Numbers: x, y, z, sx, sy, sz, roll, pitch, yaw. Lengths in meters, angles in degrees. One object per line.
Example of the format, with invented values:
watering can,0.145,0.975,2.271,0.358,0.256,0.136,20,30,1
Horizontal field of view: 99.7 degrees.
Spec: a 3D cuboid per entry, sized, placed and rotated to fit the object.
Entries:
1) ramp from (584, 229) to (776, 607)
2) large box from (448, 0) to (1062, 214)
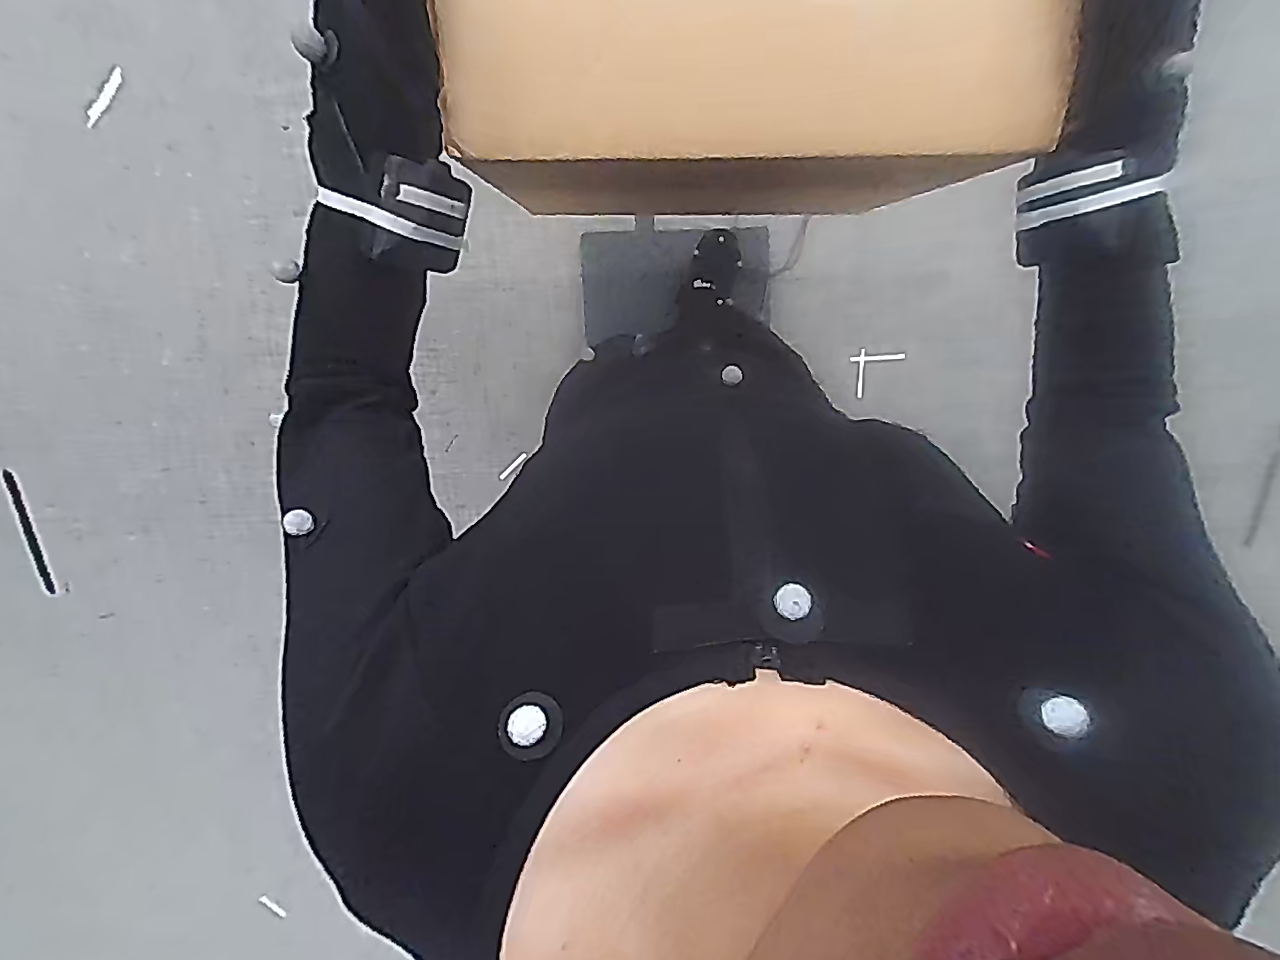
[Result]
ramp,0.112,-0.151,1.461,0.509,0.206,0.991,-4,105,2
large box,0.068,-0.424,0.462,0.408,0.320,0.320,-1,110,-1
